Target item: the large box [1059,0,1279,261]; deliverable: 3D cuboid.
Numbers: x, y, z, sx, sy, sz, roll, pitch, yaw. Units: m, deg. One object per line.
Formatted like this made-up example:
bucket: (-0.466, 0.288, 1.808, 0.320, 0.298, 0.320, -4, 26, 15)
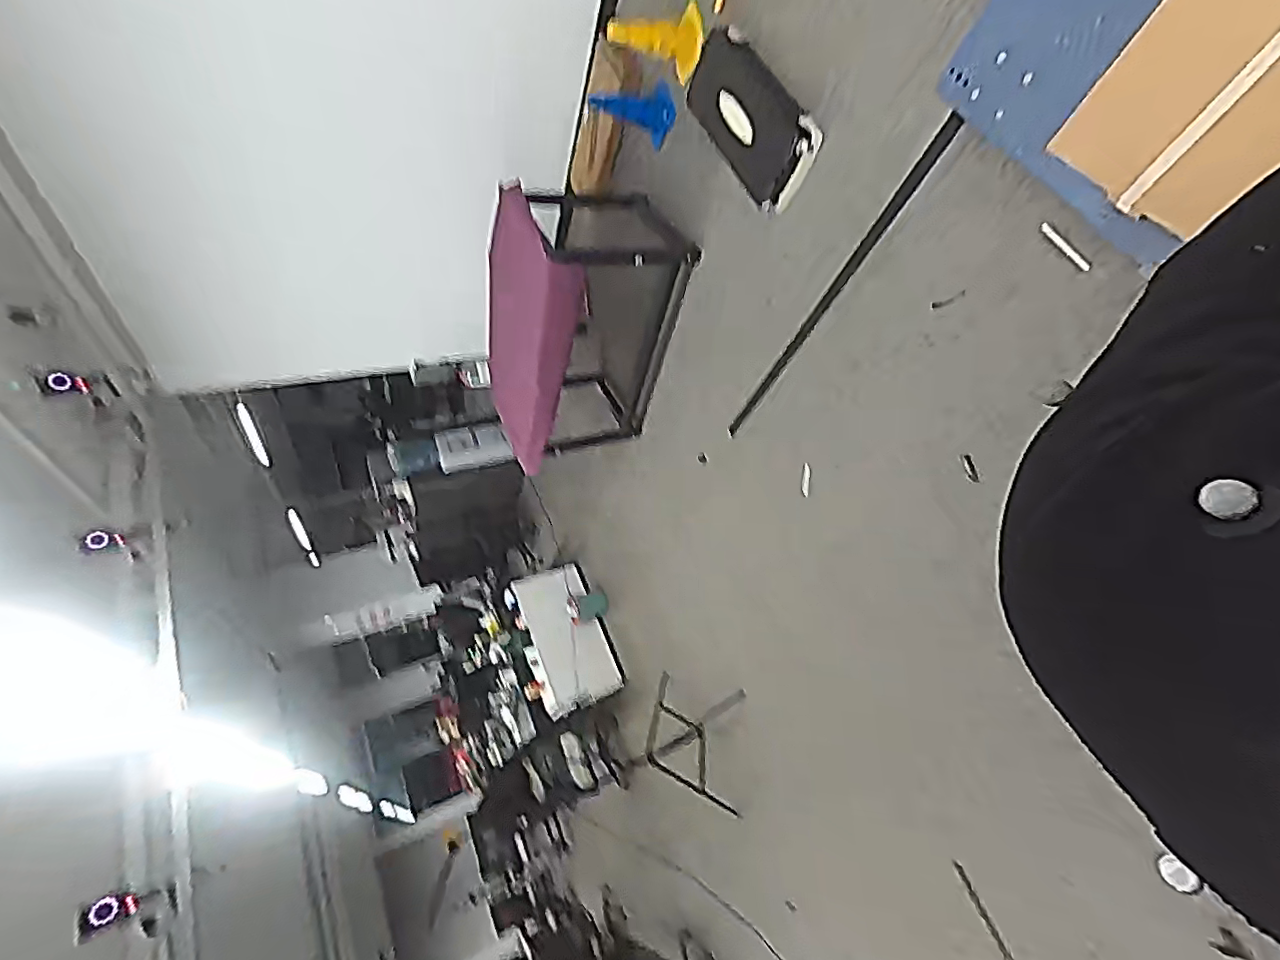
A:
large box: (0.898, -0.547, 0.702, 0.320, 0.320, 0.408, 61, 148, 27)
